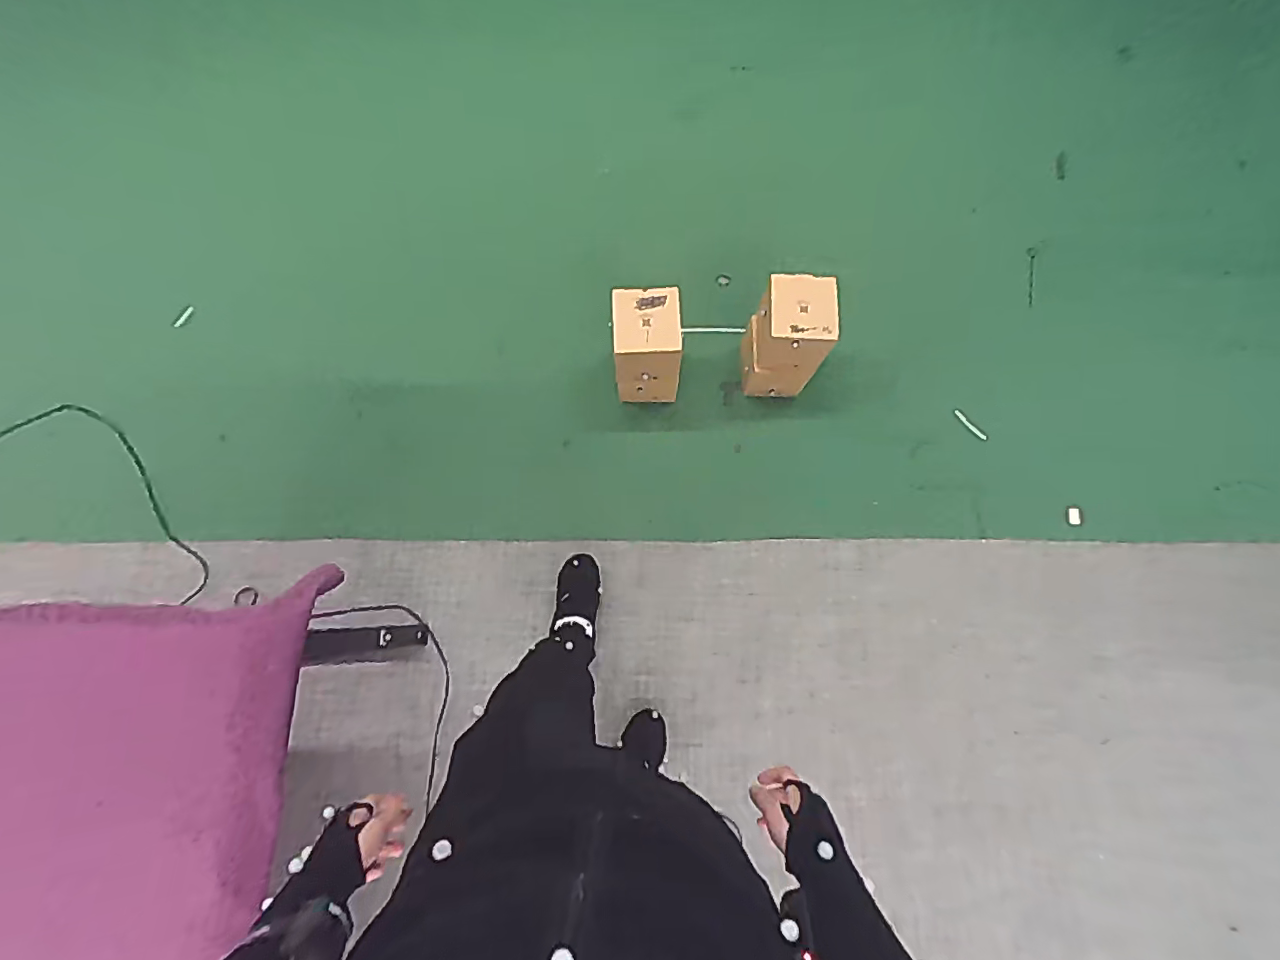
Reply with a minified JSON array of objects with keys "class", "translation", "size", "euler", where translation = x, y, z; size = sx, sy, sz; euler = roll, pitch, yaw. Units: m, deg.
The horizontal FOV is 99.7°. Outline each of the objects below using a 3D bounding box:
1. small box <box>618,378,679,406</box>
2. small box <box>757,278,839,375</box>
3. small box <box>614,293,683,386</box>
[{"class":"small box","translation":[0.027,-0.320,1.547],"size":[0.168,0.176,0.179],"euler":[1,74,0]},{"class":"small box","translation":[0.402,-0.392,1.397],"size":[0.168,0.176,0.179],"euler":[4,75,0]},{"class":"small box","translation":[0.019,-0.356,1.386],"size":[0.168,0.176,0.179],"euler":[-2,76,0]}]
